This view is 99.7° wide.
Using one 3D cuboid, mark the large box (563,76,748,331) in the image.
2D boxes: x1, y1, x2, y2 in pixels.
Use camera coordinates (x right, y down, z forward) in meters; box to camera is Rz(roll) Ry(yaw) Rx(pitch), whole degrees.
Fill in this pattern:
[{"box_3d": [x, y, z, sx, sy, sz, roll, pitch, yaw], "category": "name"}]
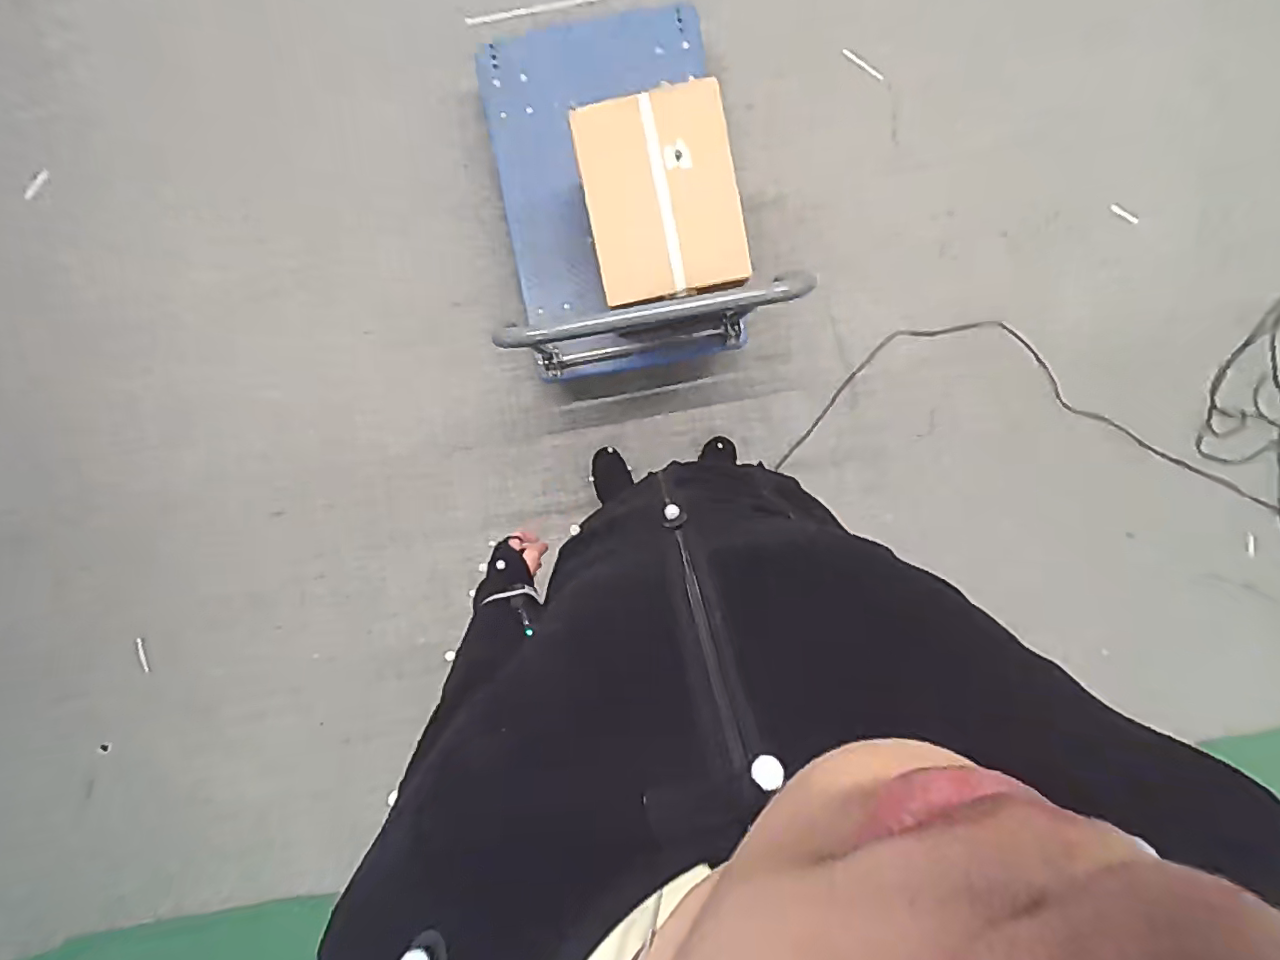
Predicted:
[{"box_3d": [0.034, -0.603, 1.255, 0.320, 0.320, 0.408, -12, 95, 0], "category": "large box"}]
